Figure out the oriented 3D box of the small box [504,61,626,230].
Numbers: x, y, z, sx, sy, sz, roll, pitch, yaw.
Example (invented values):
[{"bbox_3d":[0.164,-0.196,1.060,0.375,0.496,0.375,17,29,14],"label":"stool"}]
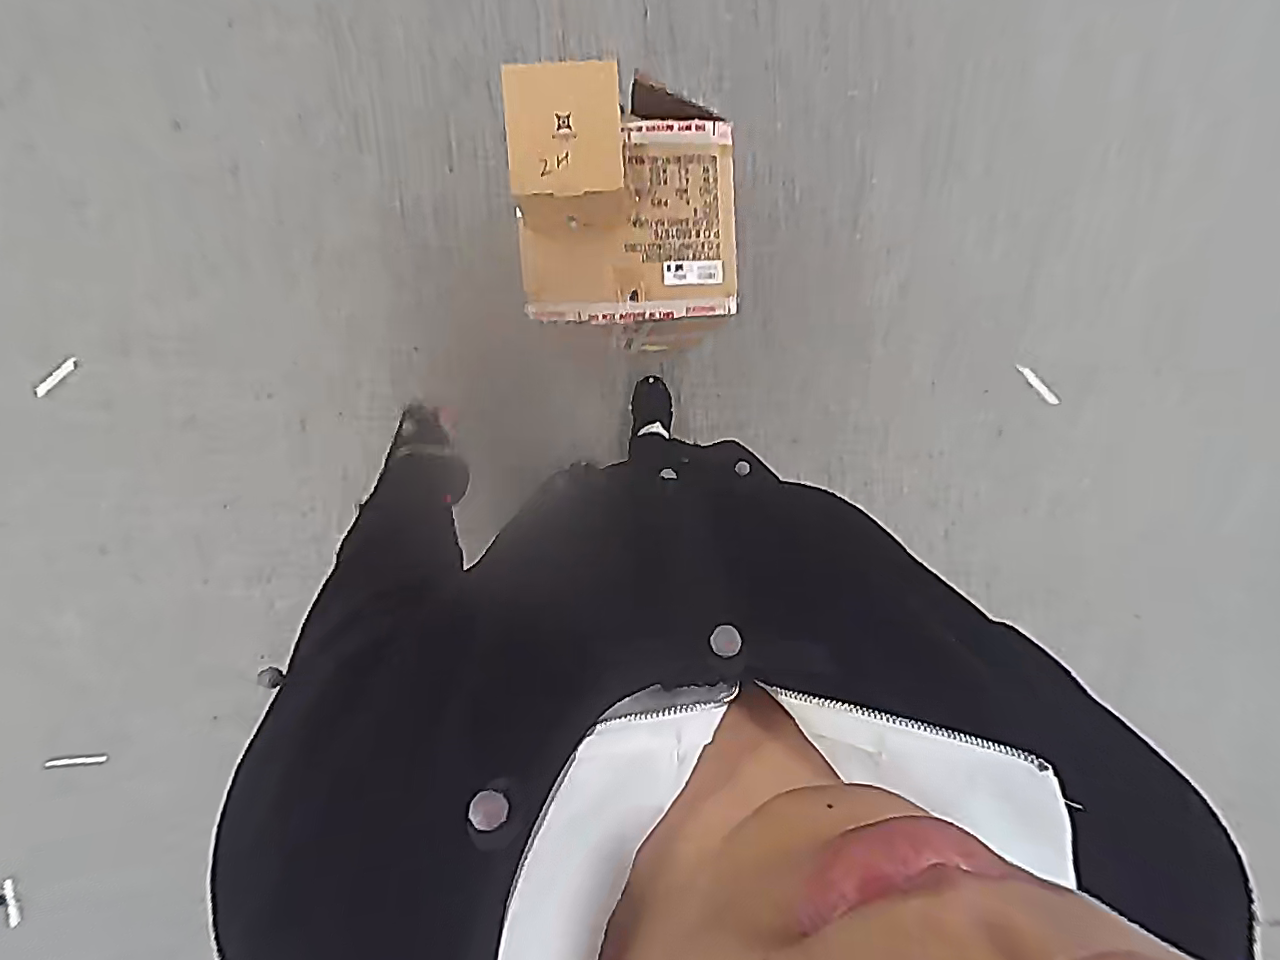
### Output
[{"bbox_3d":[-0.111,-0.512,0.848,0.168,0.176,0.179,-4,99,-2],"label":"small box"}]
